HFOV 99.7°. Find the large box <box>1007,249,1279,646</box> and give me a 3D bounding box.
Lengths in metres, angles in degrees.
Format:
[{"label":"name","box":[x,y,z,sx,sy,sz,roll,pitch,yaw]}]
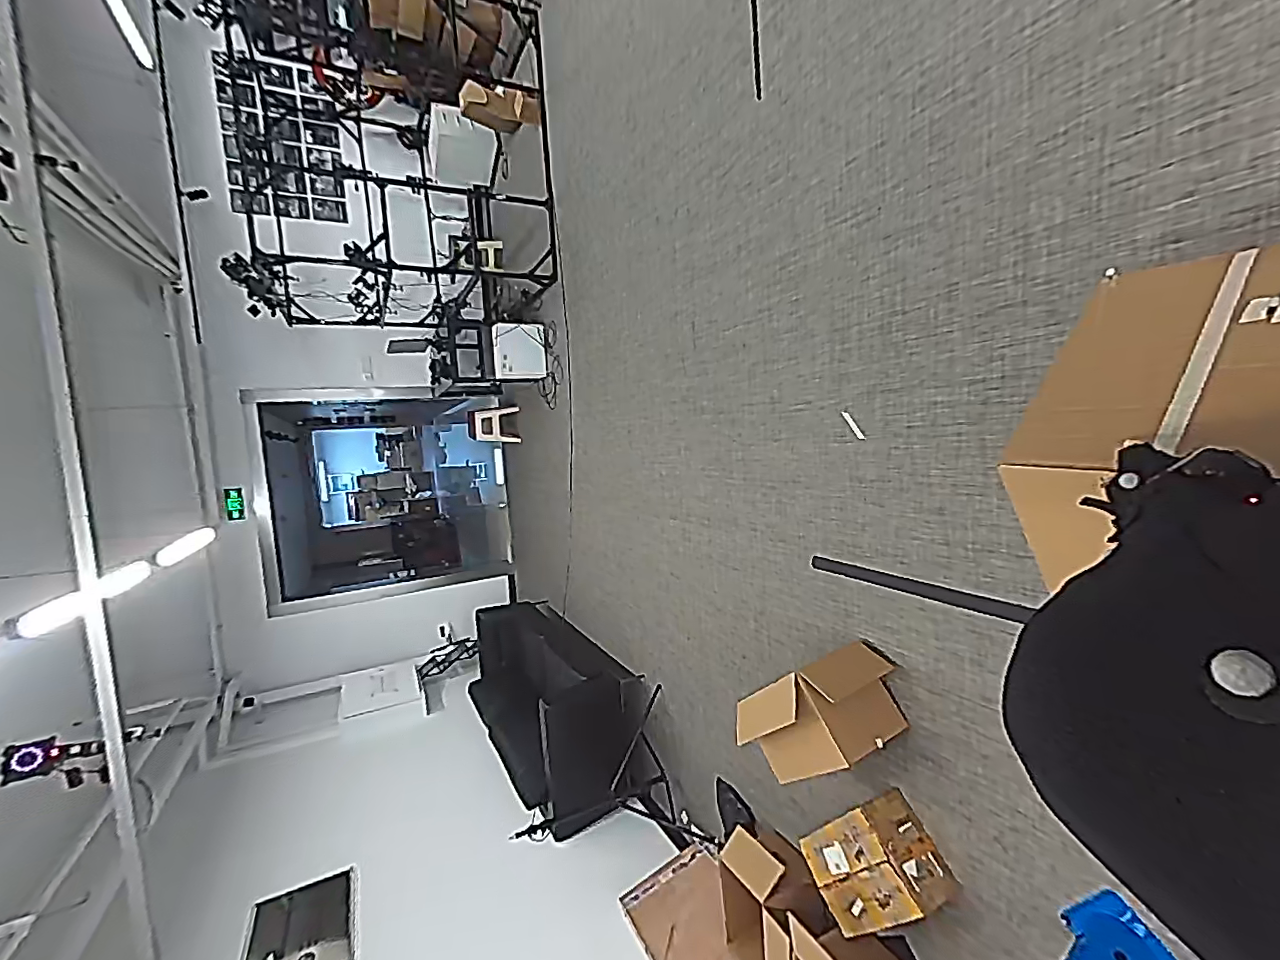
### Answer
[{"label":"large box","box":[0.766,-0.046,0.712,0.320,0.408,0.320,50,159,-27]}]
